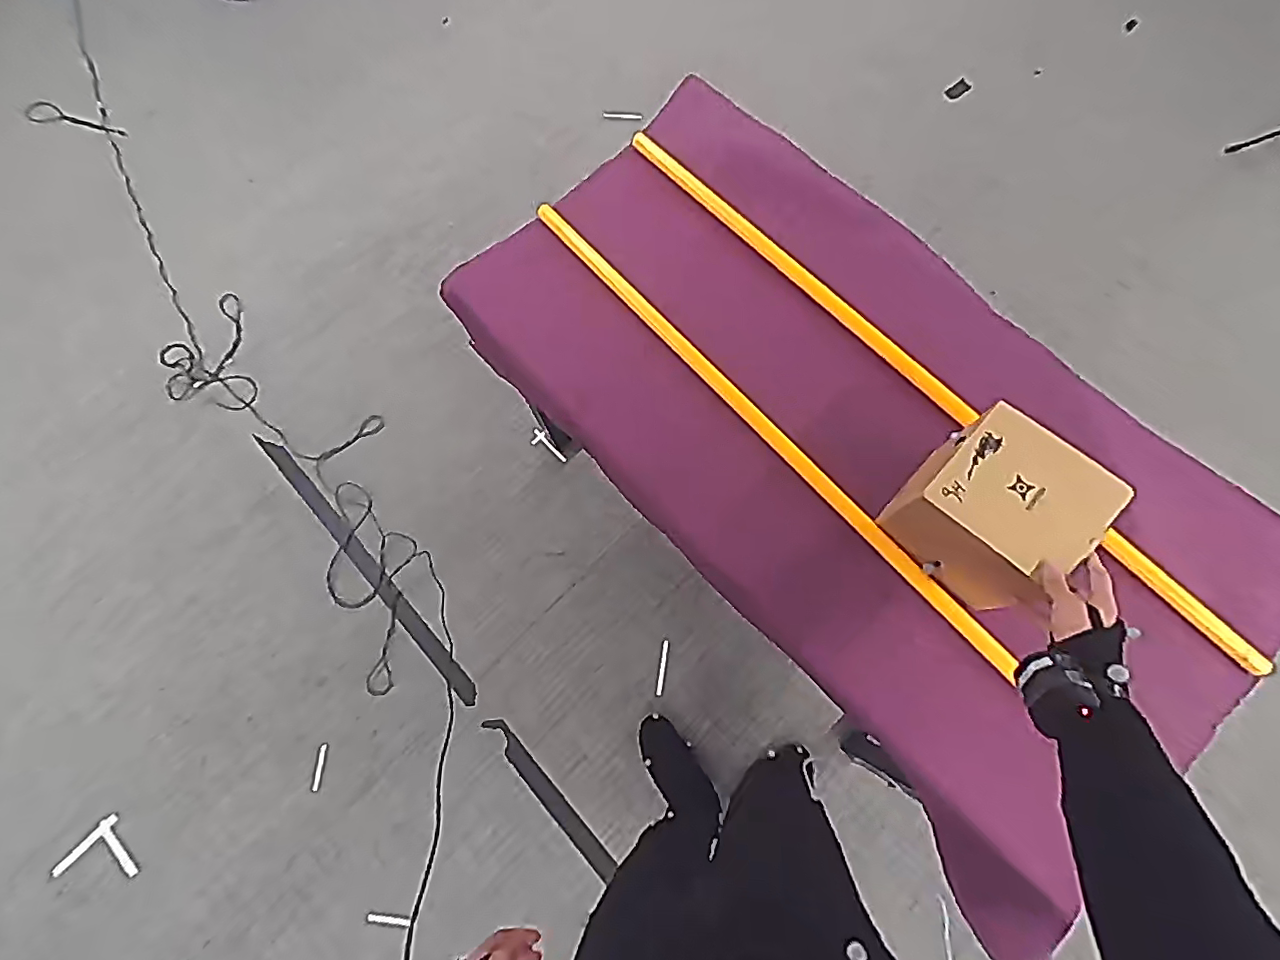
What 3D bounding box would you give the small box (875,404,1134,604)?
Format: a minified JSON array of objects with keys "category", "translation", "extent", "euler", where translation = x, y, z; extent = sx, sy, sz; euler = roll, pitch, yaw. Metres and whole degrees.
[{"category":"small box","translation":[0.443,0.041,0.689],"extent":[0.179,0.176,0.168],"euler":[43,79,14]}]
